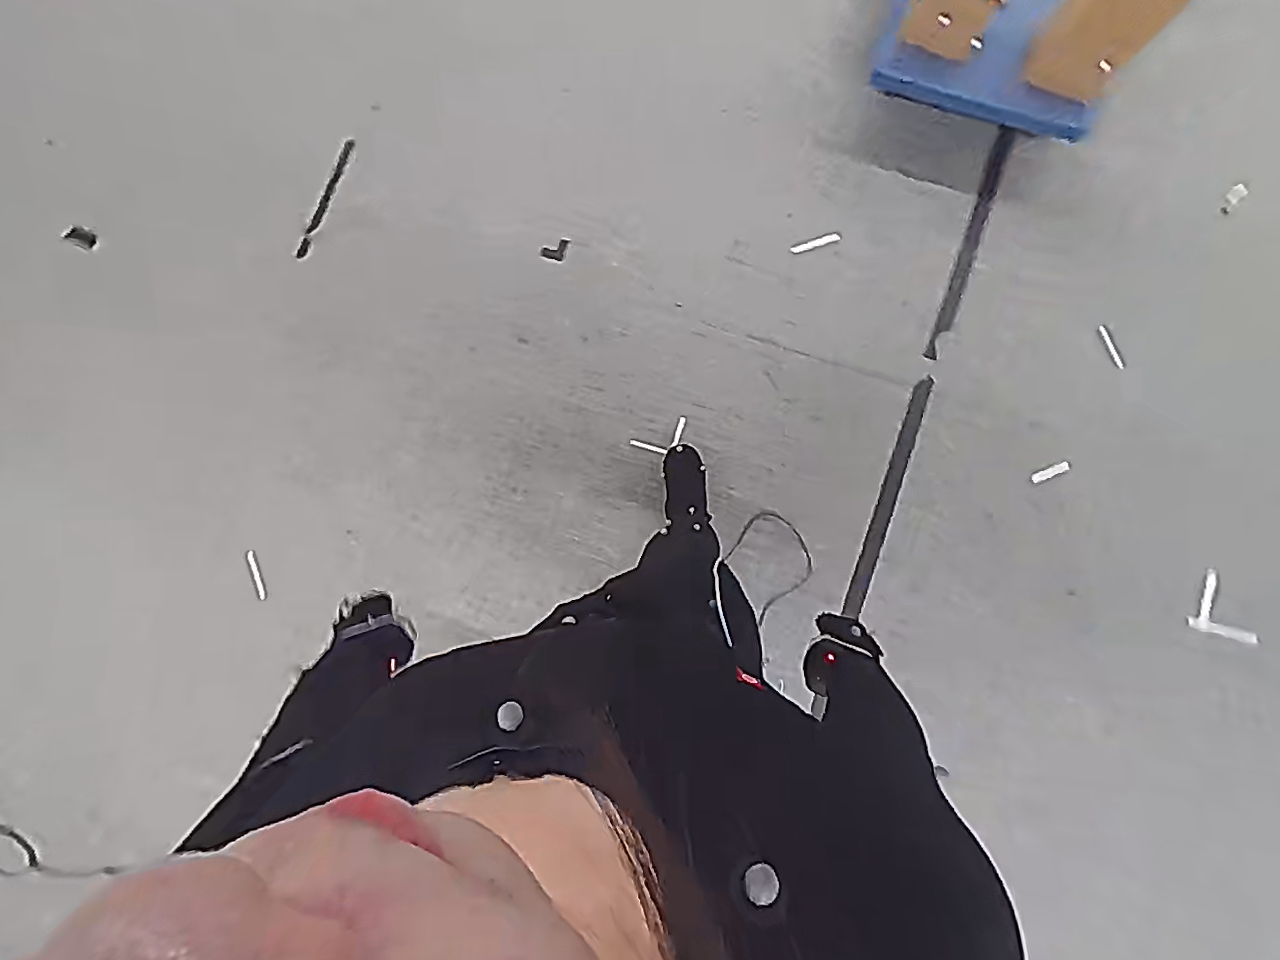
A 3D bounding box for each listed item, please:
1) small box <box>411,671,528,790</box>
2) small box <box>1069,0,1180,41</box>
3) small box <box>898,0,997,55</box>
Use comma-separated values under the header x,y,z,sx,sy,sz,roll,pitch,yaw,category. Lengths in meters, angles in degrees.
x,y,z,sx,sy,sz,roll,pitch,yaw,category
-0.380,0.562,1.242,0.179,0.176,0.168,24,87,5,small box
1.064,-1.082,1.136,0.179,0.176,0.168,24,86,3,small box
0.770,-1.195,1.320,0.179,0.176,0.168,23,86,5,small box
